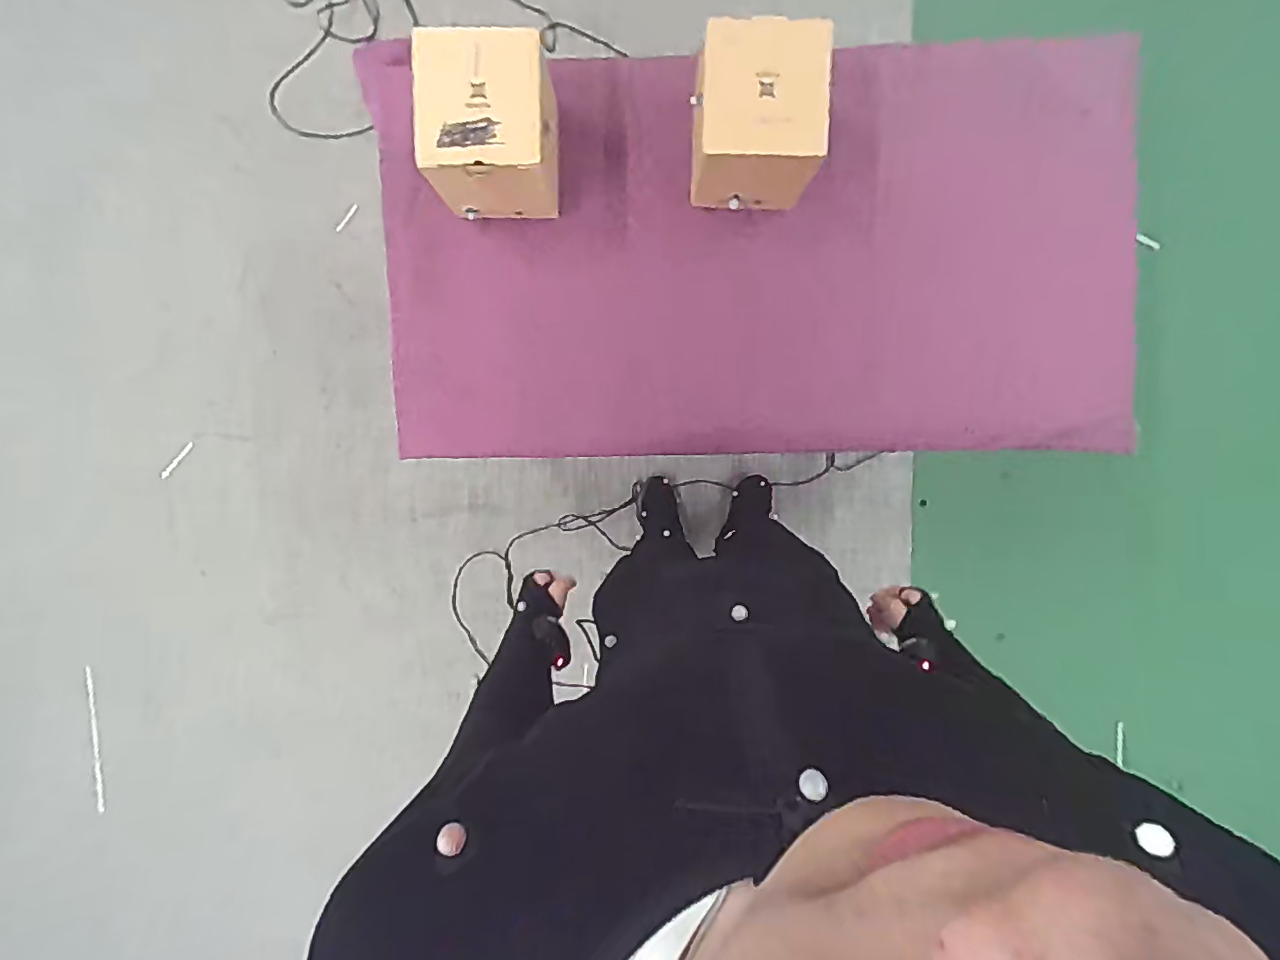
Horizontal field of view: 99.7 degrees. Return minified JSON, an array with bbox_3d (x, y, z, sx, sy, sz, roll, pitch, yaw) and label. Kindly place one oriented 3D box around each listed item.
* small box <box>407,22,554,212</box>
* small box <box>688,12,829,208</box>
[{"bbox_3d":[-0.216,-0.503,0.775,0.168,0.176,0.179,-1,95,-2],"label":"small box"},{"bbox_3d":[0.161,-0.523,0.785,0.168,0.176,0.179,1,95,0],"label":"small box"}]
